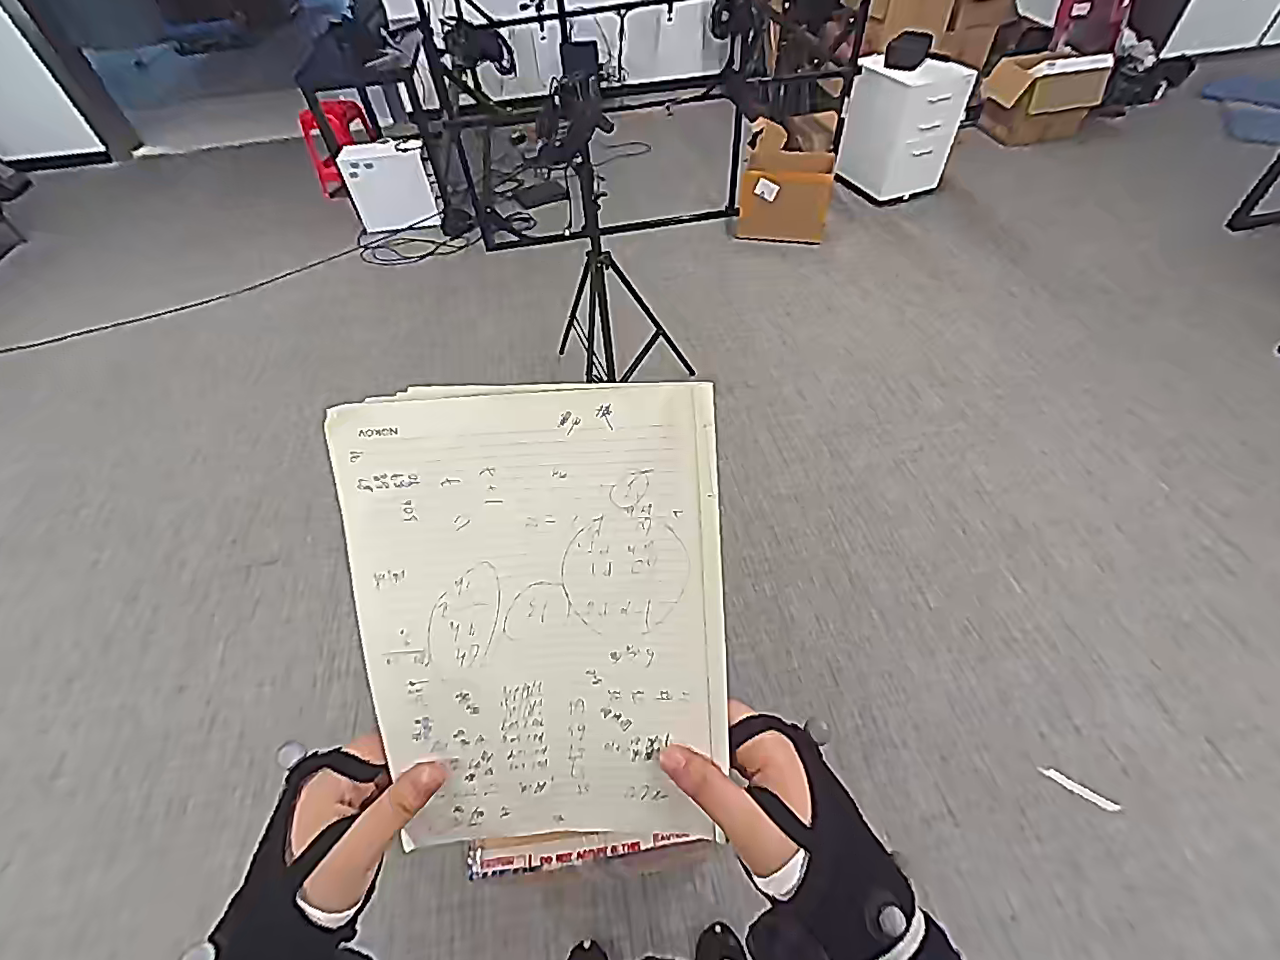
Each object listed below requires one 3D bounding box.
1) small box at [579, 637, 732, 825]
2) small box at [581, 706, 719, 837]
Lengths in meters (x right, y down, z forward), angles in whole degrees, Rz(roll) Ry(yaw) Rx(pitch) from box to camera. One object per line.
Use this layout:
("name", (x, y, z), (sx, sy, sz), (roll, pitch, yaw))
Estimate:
("small box", (0.012, 0.332, 0.712), (0.168, 0.176, 0.179), (-7, 52, -5))
("small box", (0.011, 0.435, 0.840), (0.179, 0.176, 0.168), (-10, 52, -7))
